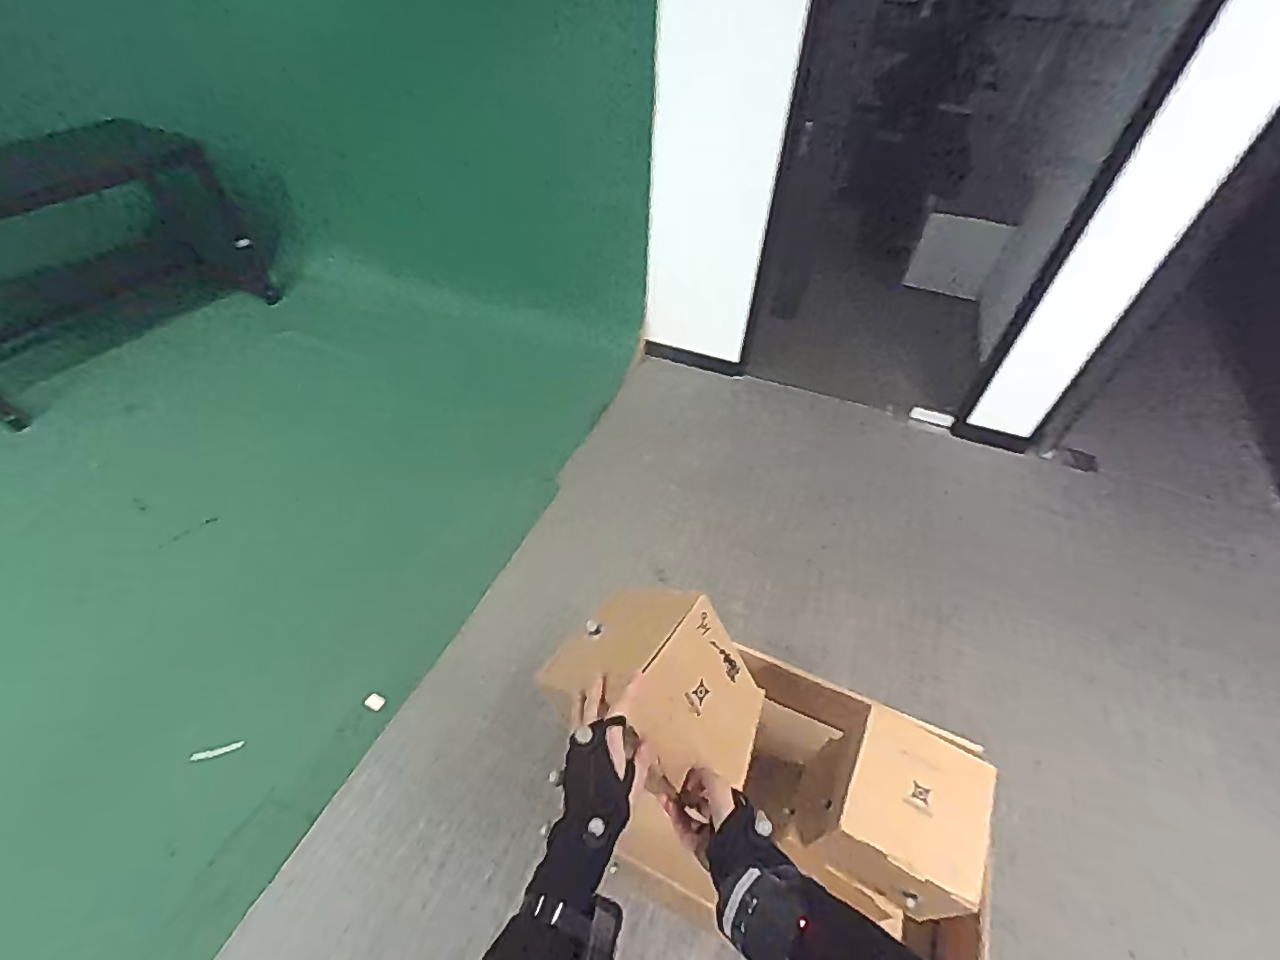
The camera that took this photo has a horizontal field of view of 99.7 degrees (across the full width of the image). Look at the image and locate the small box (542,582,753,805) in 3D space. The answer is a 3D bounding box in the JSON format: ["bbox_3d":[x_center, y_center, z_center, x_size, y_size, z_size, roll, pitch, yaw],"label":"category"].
[{"bbox_3d":[0.003,0.245,0.668,0.176,0.168,0.179,-6,27,48],"label":"small box"}]

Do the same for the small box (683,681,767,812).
[{"bbox_3d":[0.108,0.444,0.948,0.168,0.176,0.179,17,50,13],"label":"small box"}]

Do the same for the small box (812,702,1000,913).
[{"bbox_3d":[0.351,0.448,0.737,0.168,0.176,0.179,25,52,18],"label":"small box"}]
